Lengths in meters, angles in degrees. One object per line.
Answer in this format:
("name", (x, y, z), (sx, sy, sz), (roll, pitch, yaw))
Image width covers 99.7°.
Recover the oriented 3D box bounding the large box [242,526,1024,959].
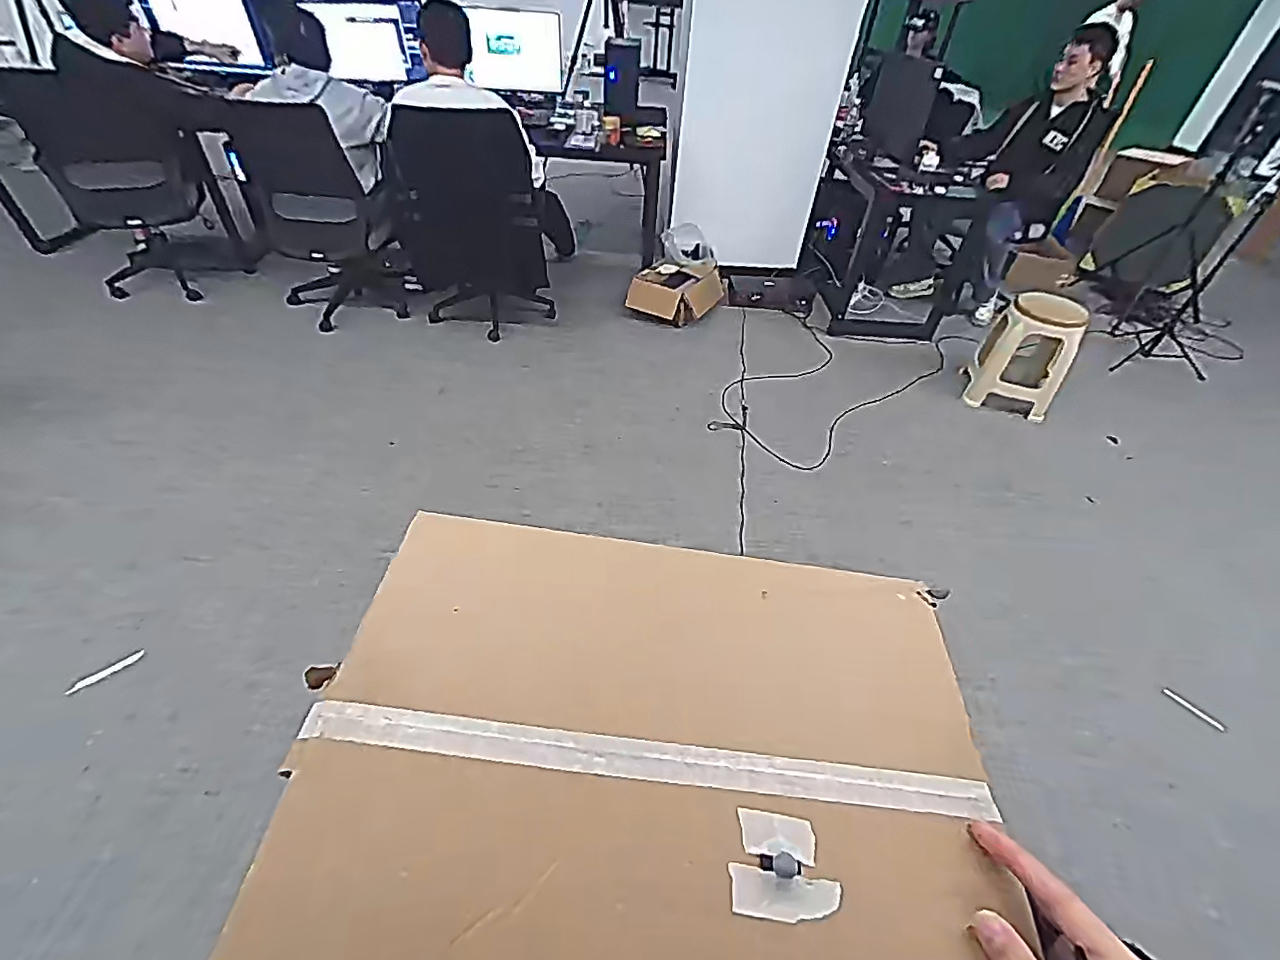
("large box", (-0.003, 0.271, 0.444), (0.408, 0.320, 0.320), (8, 49, -2))
